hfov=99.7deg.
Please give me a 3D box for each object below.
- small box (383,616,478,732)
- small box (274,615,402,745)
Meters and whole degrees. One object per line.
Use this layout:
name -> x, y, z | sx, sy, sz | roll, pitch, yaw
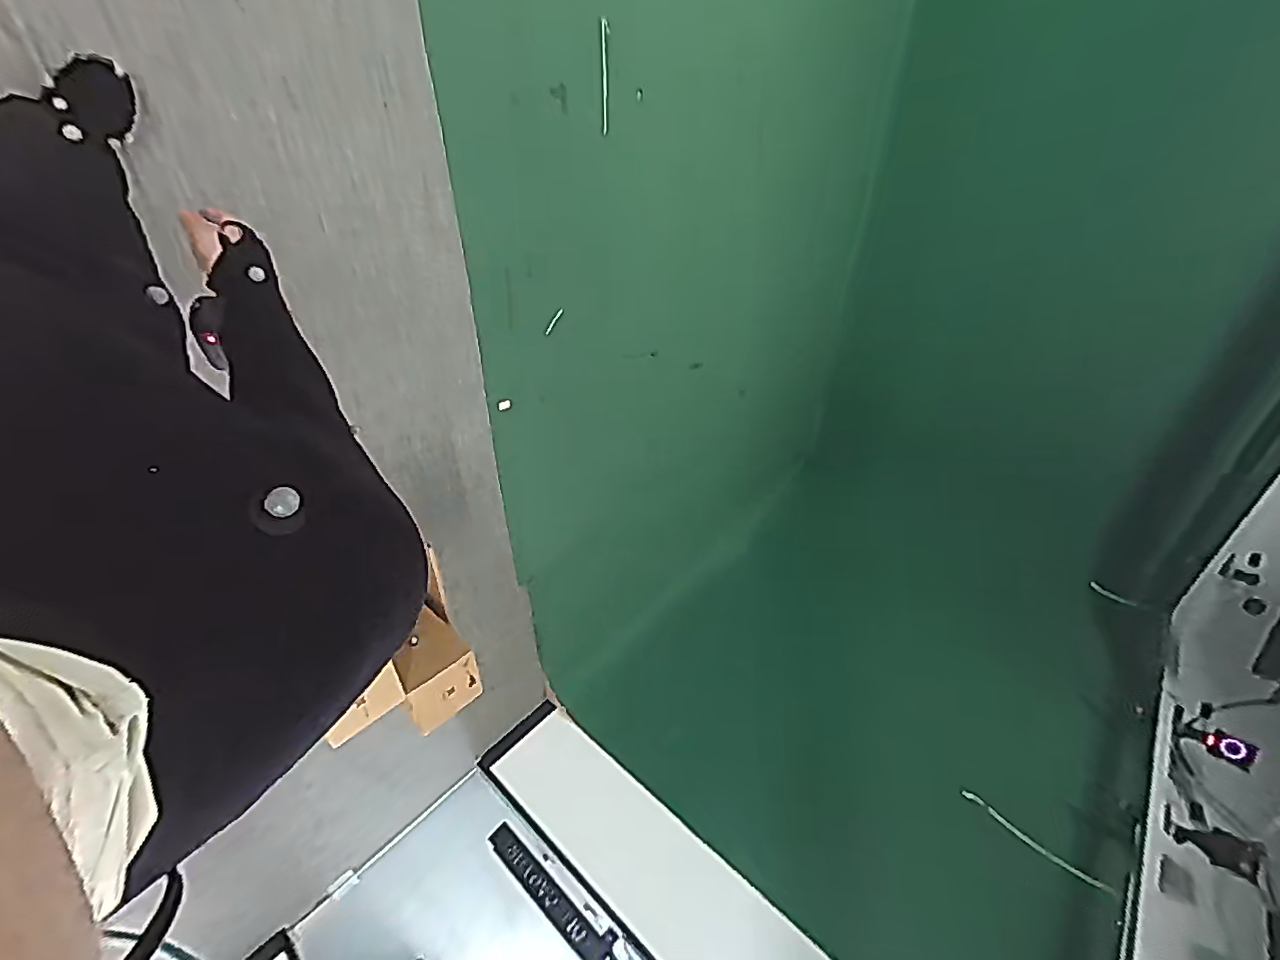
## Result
small box -> -0.540, 0.481, 1.362 | 0.179, 0.176, 0.168 | -29, 134, -38
small box -> -0.651, 0.418, 1.167 | 0.168, 0.176, 0.179 | -31, 136, -37
